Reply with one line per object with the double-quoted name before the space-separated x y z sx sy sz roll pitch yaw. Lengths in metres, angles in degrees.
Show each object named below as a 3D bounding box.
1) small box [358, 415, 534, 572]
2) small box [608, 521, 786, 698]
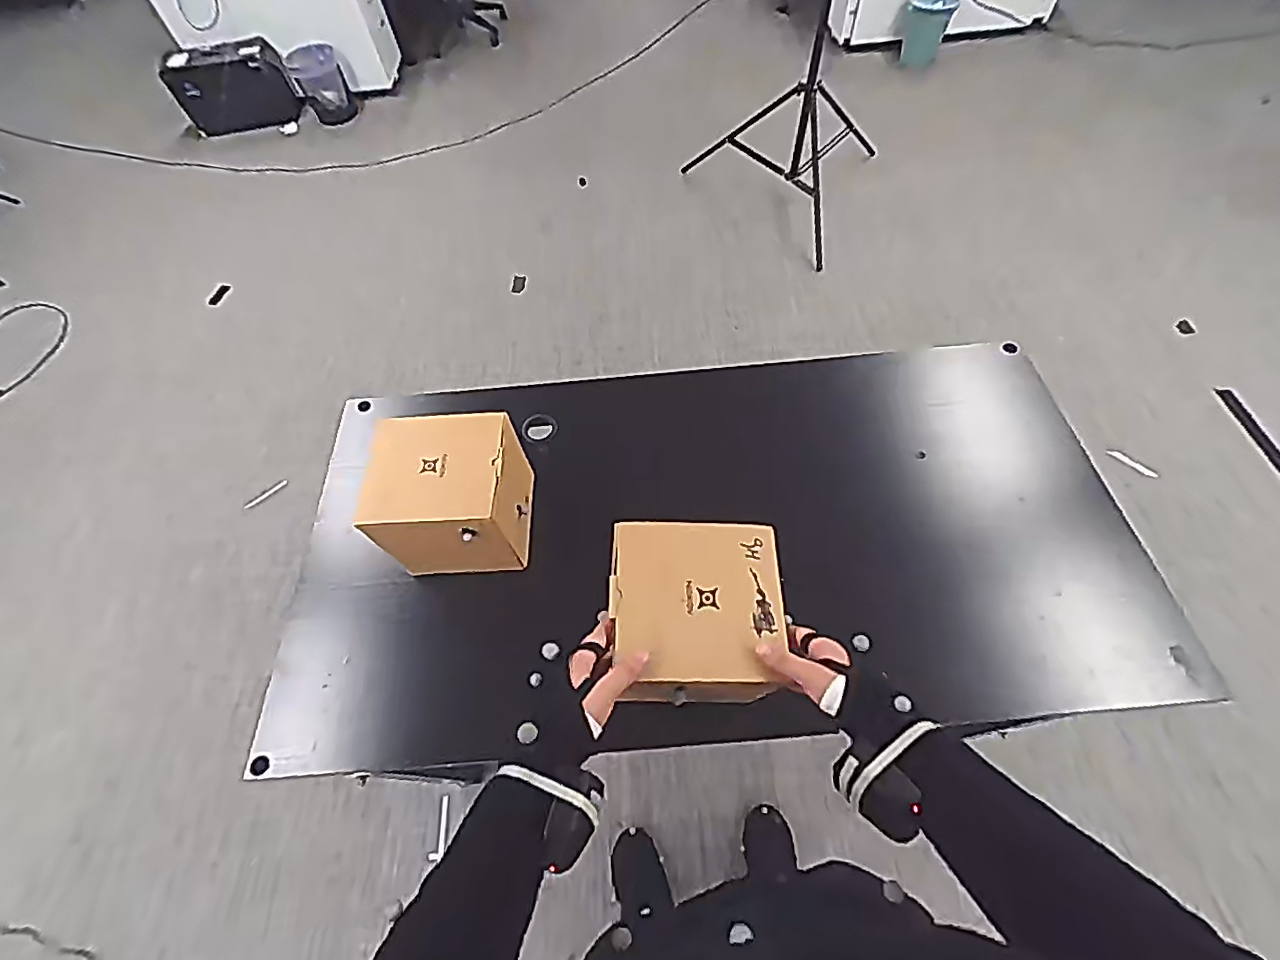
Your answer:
"small box" -0.262 0.026 0.775 0.179 0.176 0.168 -3 59 1
"small box" 0.053 0.158 0.628 0.179 0.176 0.168 2 62 -3
